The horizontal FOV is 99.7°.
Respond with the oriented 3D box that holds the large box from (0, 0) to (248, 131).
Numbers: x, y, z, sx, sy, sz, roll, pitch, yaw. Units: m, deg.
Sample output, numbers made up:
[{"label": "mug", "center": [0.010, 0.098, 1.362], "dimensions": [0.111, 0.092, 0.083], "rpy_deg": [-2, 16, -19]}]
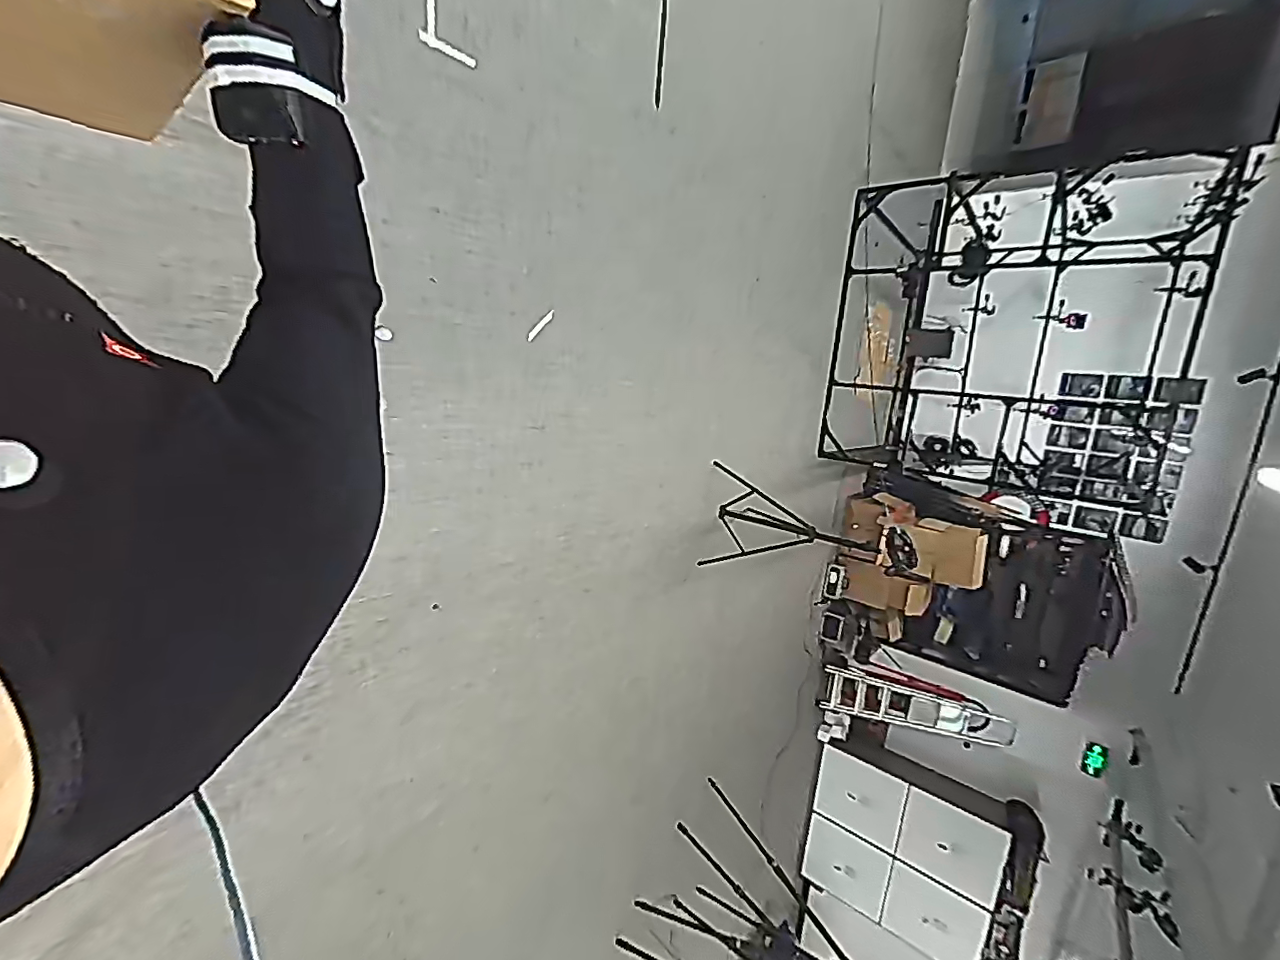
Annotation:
[{"label": "large box", "center": [-0.496, -0.450, 0.270], "dimensions": [0.408, 0.320, 0.320], "rpy_deg": [-11, 105, -51]}]
